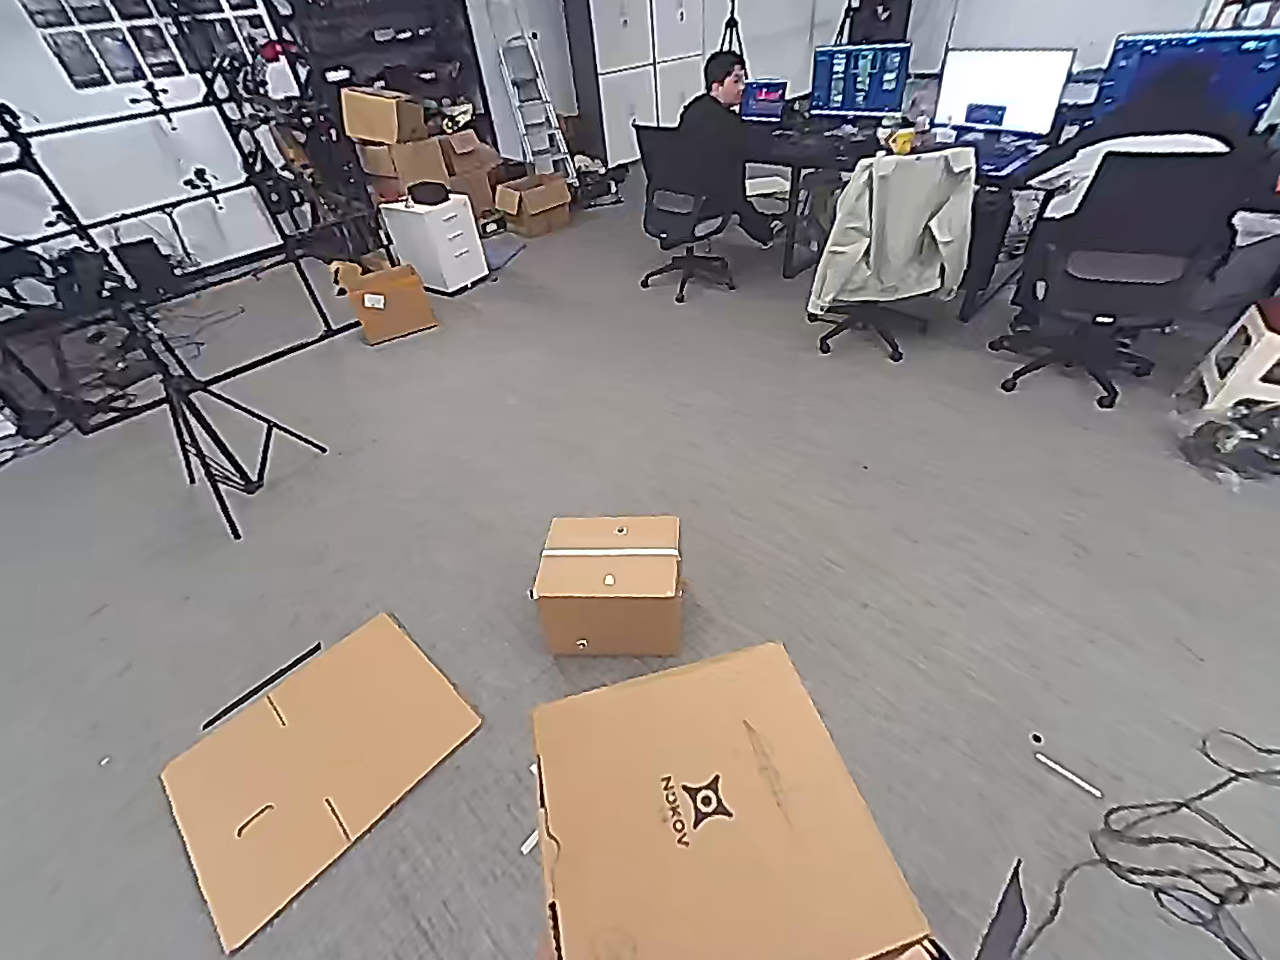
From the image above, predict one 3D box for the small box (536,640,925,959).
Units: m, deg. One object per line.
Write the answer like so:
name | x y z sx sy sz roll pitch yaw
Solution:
small box | 0.041 0.239 0.355 0.179 0.176 0.168 -12 42 -9
